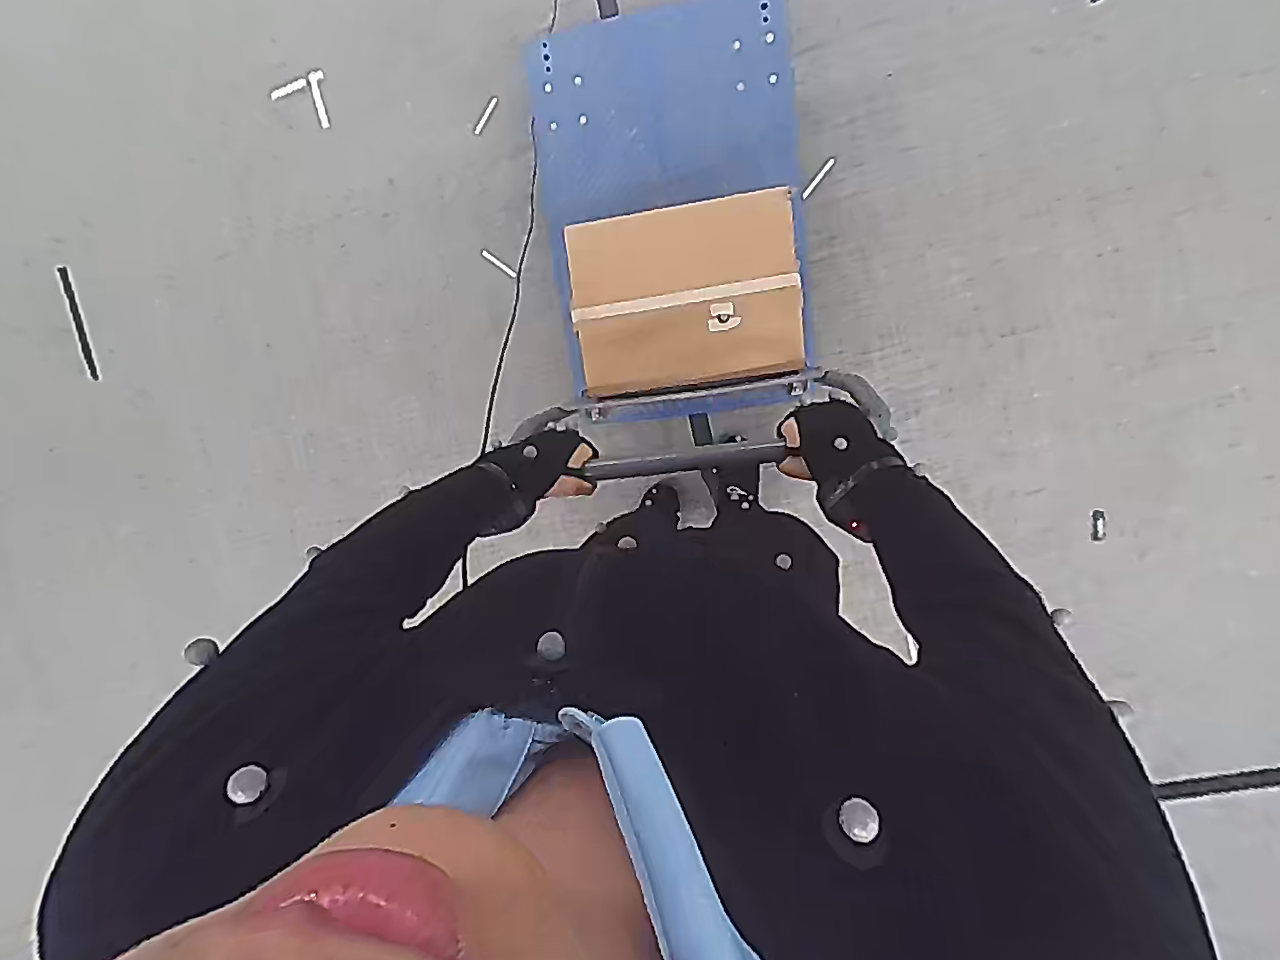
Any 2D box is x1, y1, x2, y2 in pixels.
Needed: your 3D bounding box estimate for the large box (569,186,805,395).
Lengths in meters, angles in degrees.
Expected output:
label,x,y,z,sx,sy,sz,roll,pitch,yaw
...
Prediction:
label,x,y,z,sx,sy,sz,roll,pitch,yaw
large box,0.100,-0.362,1.136,0.408,0.320,0.320,-7,99,8
